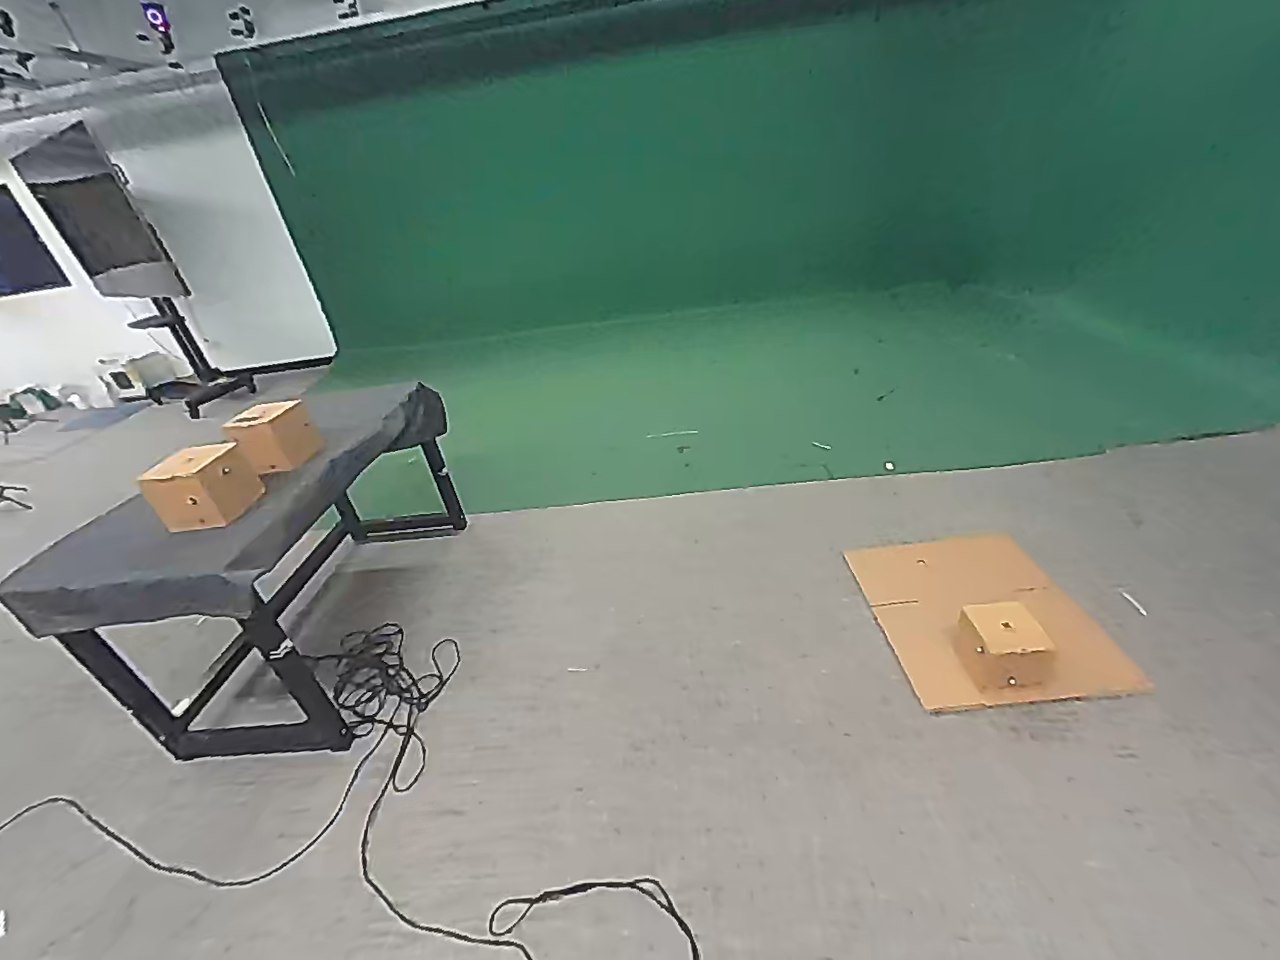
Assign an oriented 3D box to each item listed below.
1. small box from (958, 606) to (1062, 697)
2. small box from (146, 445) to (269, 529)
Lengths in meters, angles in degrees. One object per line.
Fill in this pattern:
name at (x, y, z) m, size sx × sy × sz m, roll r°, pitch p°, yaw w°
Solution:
small box at (1.020, 0.479, 1.511) m, size 0.168 × 0.176 × 0.179 m, roll -6°, pitch 31°, yaw 5°
small box at (-1.166, 0.024, 1.478) m, size 0.168 × 0.176 × 0.179 m, roll -5°, pitch 29°, yaw 5°
